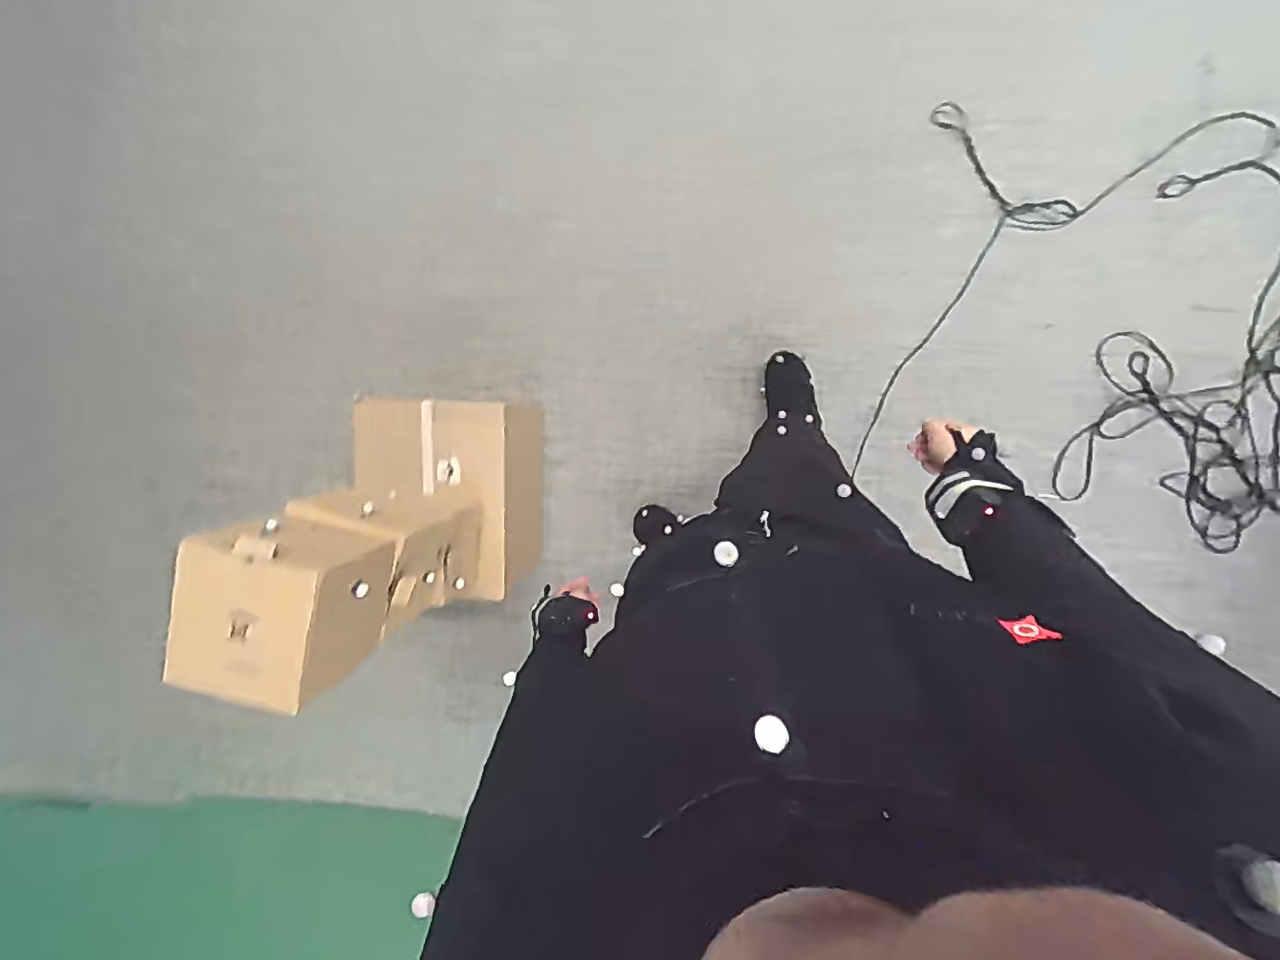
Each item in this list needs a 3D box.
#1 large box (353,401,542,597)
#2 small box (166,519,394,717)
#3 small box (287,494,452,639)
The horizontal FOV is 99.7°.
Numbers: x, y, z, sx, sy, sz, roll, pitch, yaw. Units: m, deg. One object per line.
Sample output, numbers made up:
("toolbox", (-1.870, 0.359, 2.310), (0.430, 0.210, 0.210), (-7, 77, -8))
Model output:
("large box", (-0.414, 0.029, 1.239), (0.320, 0.320, 0.408), (1, 96, 3))
("small box", (-0.437, 0.158, 0.682), (0.168, 0.176, 0.179), (13, 98, 3))
("small box", (-0.424, 0.125, 0.841), (0.179, 0.176, 0.168), (16, 97, 2))
